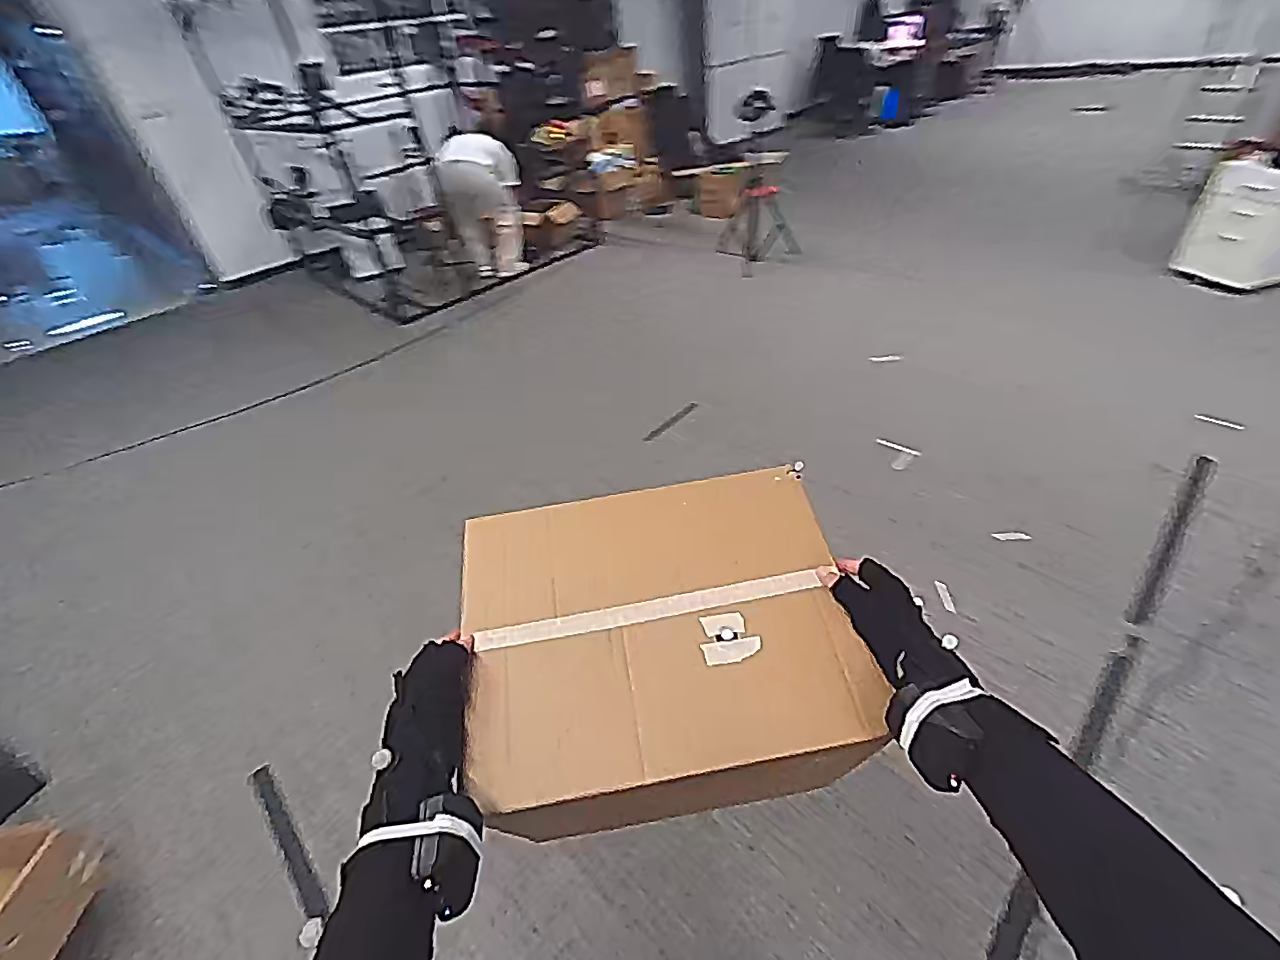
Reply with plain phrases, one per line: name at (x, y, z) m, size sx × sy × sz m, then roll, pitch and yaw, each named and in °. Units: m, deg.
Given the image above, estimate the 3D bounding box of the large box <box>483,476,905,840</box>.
large box at (0.039, 0.236, 0.698) m, size 0.408 × 0.320 × 0.320 m, roll -9°, pitch 53°, yaw -2°
